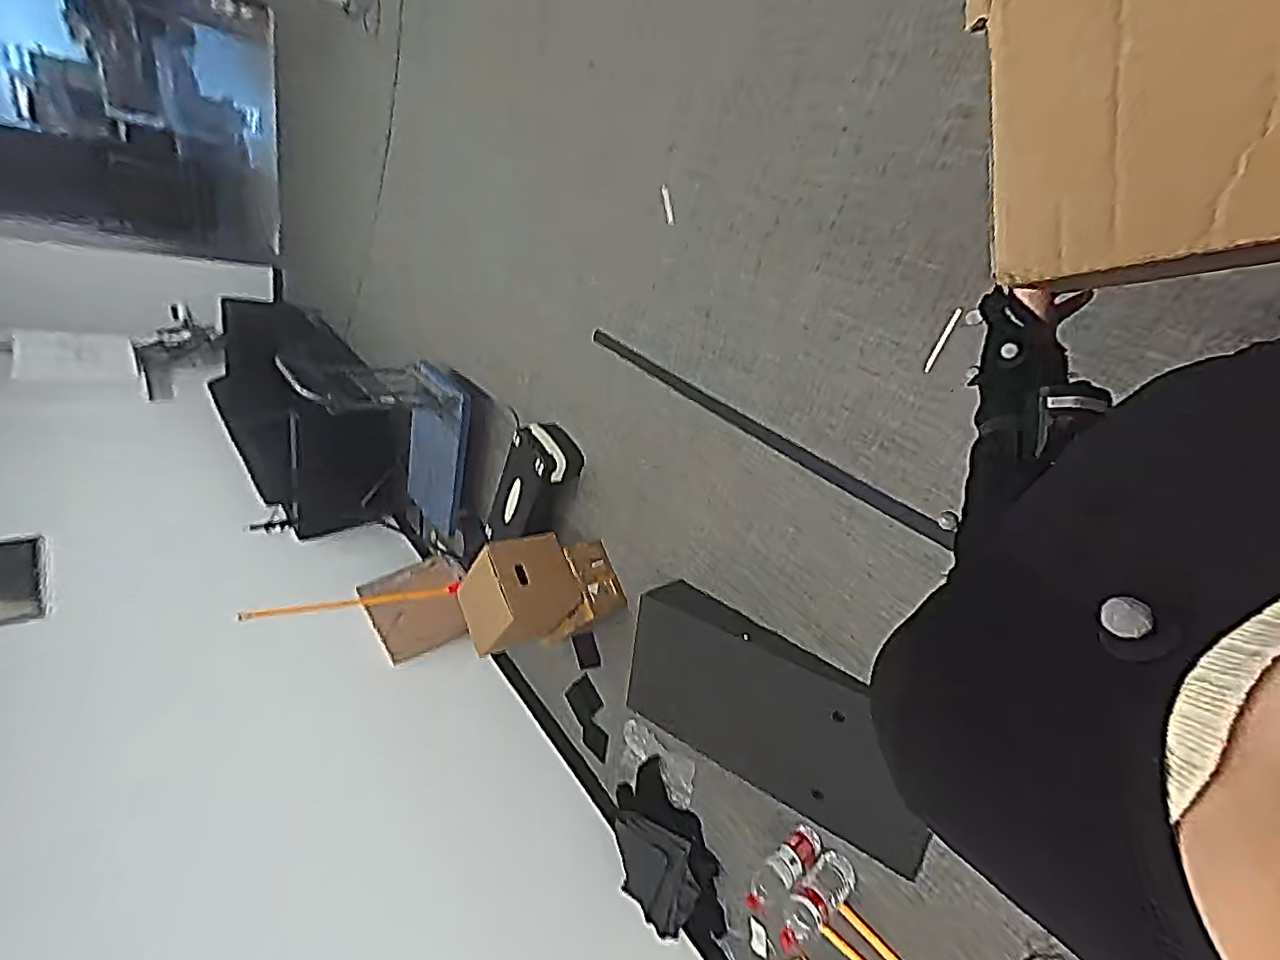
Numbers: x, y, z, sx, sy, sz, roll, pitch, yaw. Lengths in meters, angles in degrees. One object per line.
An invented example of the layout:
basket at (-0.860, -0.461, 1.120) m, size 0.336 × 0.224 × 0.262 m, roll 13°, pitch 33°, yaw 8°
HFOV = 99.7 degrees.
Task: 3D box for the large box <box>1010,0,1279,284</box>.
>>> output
large box at (0.416, -0.287, 0.231) m, size 0.408 × 0.320 × 0.320 m, roll 3°, pitch 106°, yaw 41°
